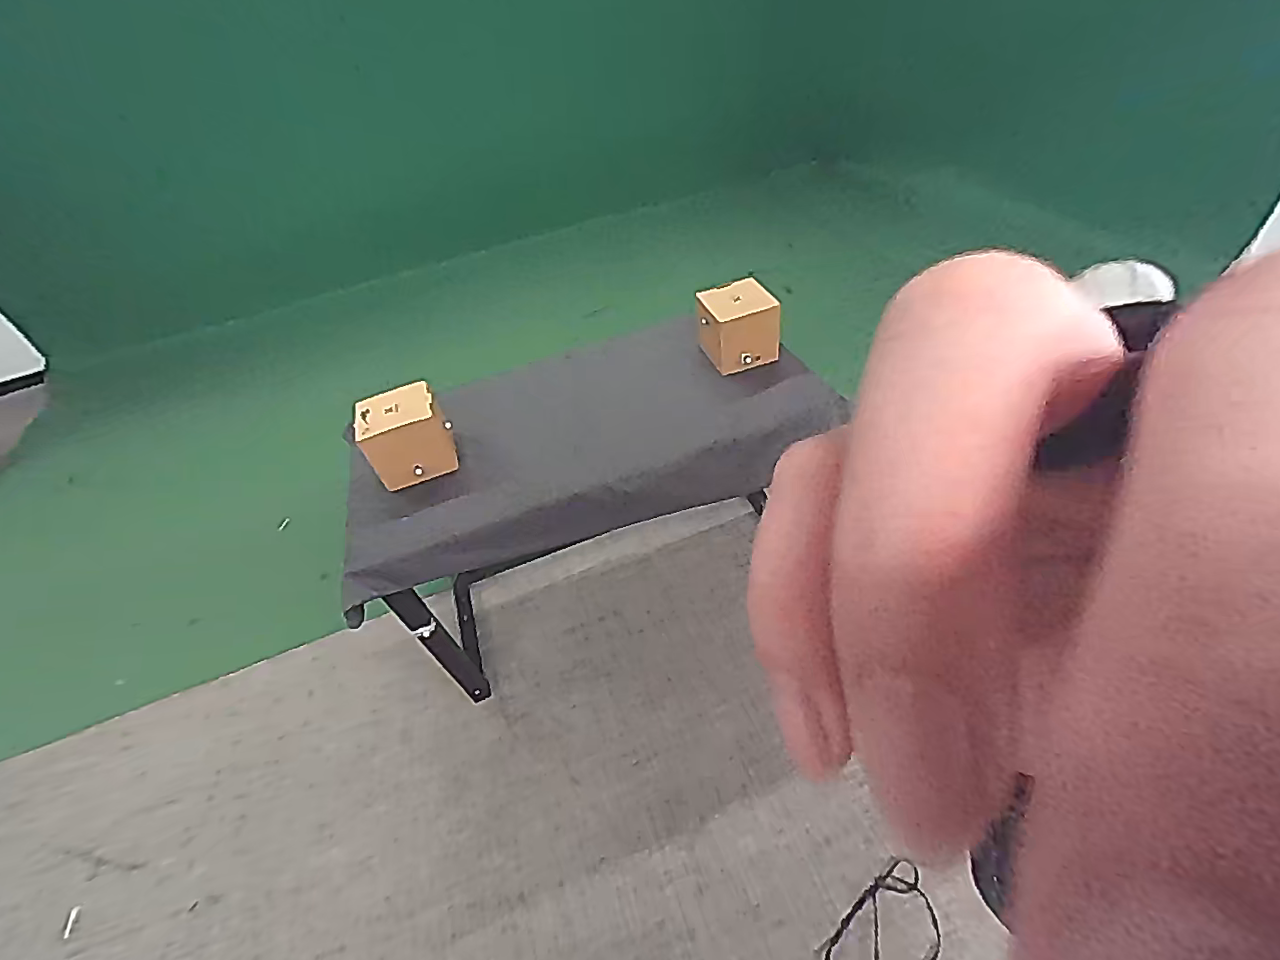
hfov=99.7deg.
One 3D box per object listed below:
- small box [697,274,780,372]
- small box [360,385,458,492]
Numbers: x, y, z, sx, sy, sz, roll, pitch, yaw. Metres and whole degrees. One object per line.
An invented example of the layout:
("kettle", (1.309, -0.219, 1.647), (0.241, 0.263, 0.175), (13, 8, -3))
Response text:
("small box", (0.261, -0.418, 1.445), (0.168, 0.176, 0.179), (-17, 45, -2))
("small box", (-0.560, -0.101, 1.323), (0.179, 0.176, 0.168), (-20, 45, -10))
